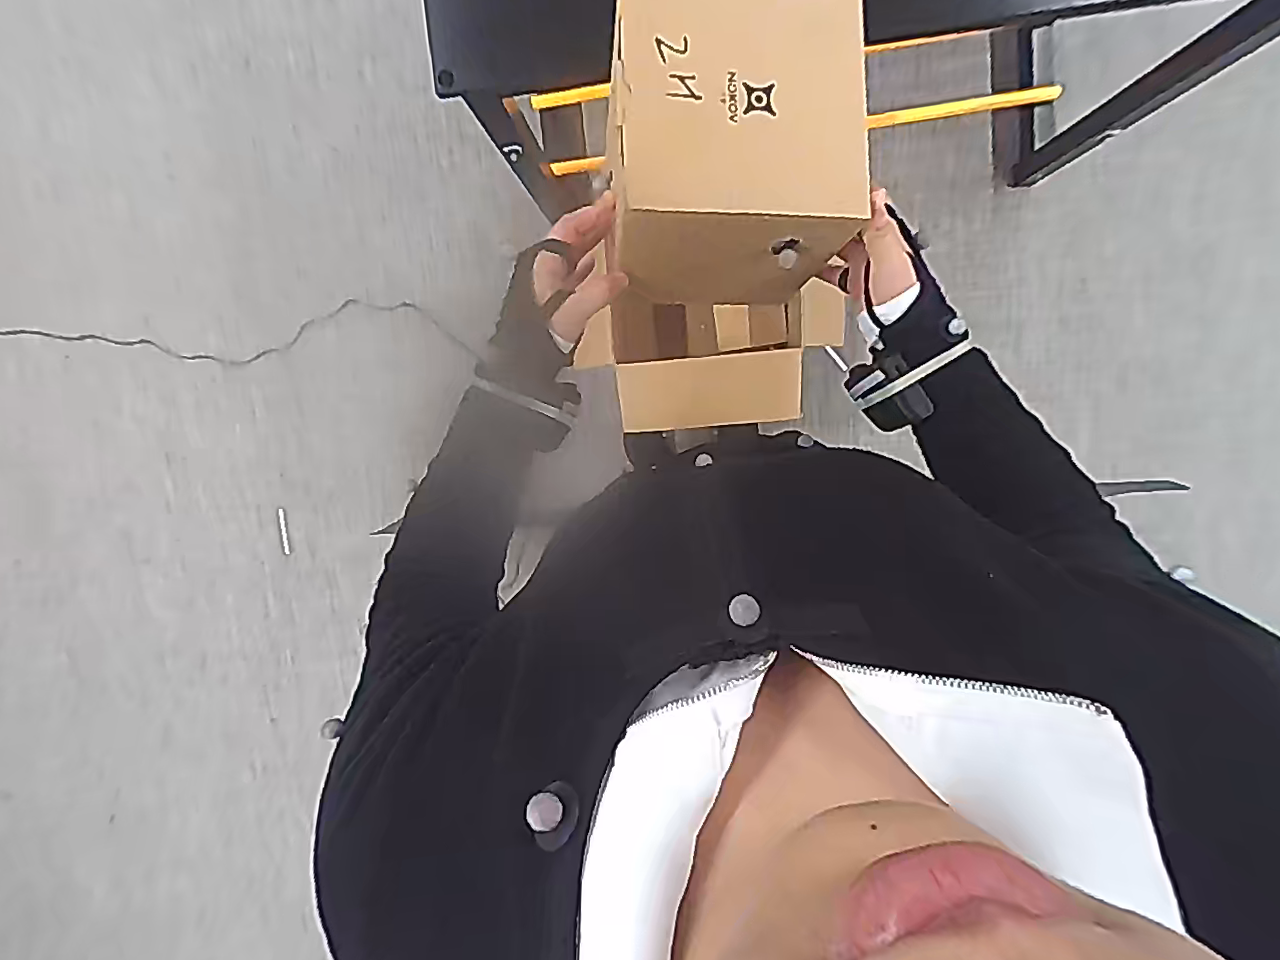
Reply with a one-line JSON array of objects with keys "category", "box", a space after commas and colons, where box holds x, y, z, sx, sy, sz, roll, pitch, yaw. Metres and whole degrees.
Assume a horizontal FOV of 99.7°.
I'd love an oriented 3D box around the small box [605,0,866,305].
[{"category": "small box", "box": [0.063, -0.257, 0.454, 0.179, 0.176, 0.168, -2, 87, -6]}]
